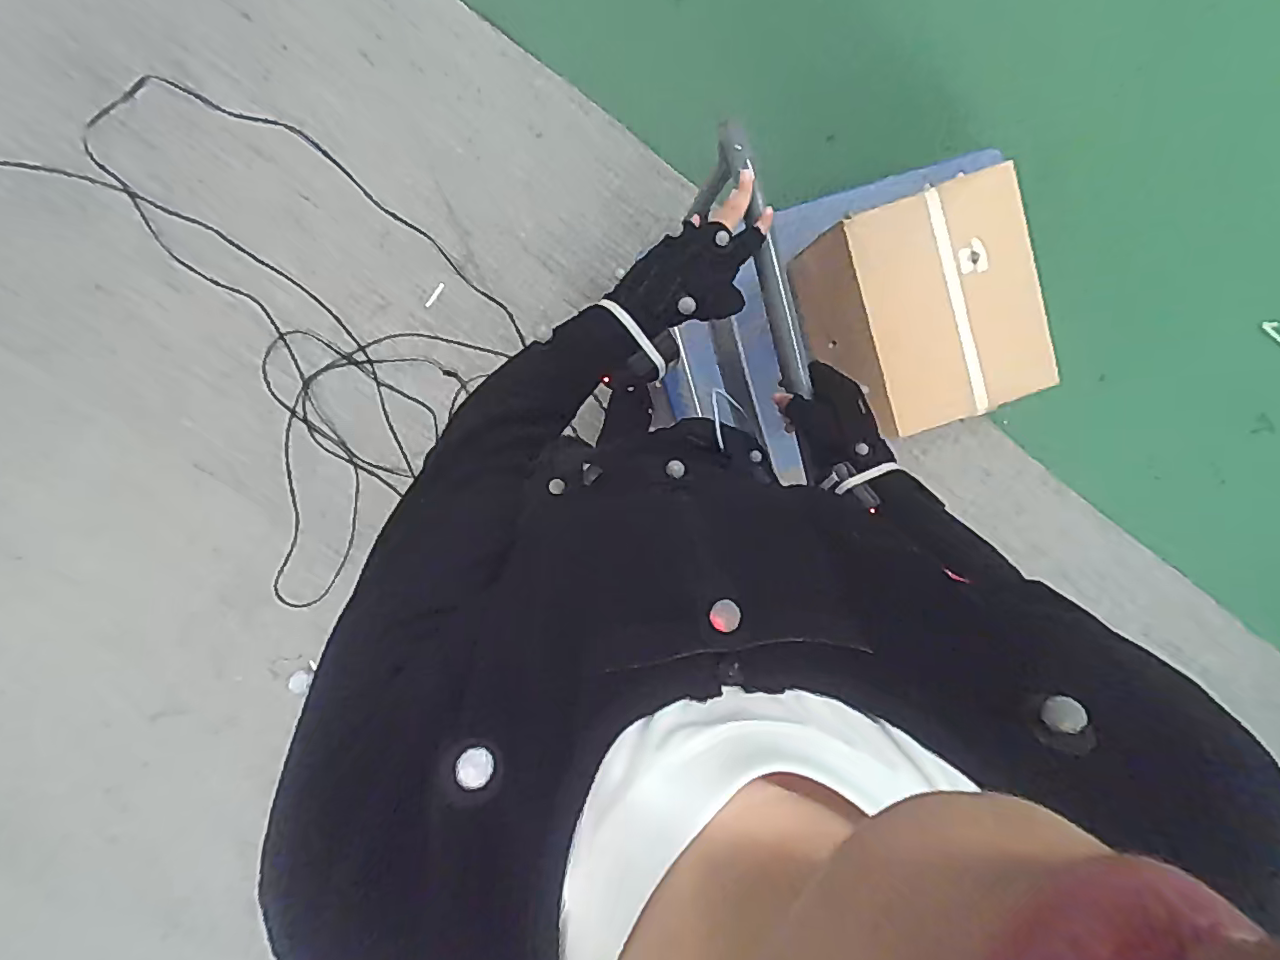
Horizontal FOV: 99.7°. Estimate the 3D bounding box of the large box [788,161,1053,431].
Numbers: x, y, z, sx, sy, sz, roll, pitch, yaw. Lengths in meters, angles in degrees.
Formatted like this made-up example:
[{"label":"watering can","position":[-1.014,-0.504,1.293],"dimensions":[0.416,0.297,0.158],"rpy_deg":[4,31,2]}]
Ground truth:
[{"label":"large box","position":[0.546,-0.342,1.116],"dimensions":[0.320,0.320,0.408],"rpy_deg":[-19,98,0]}]
